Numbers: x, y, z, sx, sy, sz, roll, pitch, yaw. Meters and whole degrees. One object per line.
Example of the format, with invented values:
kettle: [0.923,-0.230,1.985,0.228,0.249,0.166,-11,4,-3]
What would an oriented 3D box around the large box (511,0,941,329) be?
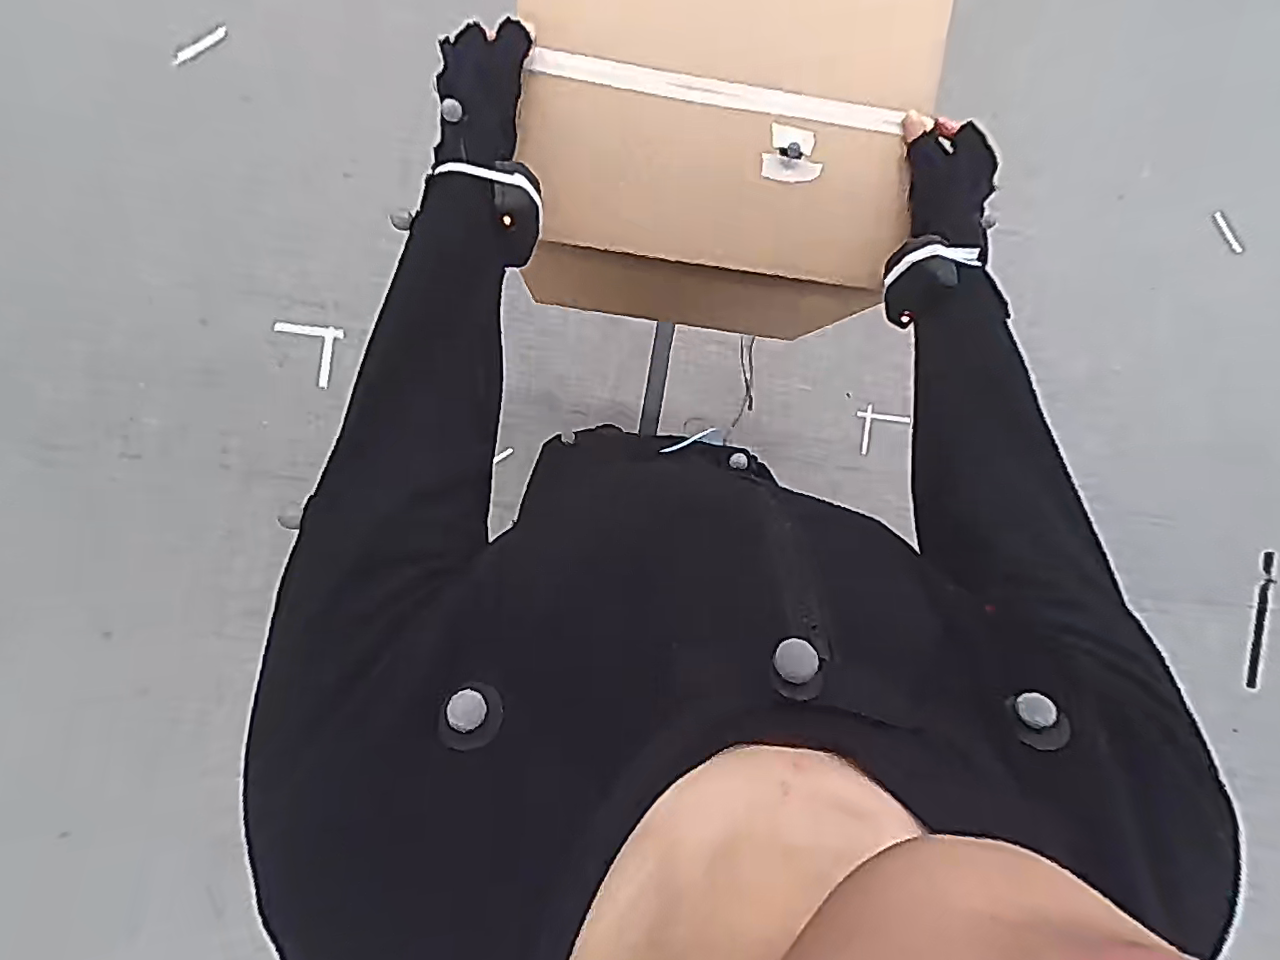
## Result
large box: [0.072,-0.390,0.671,0.408,0.320,0.320,7,97,-6]
